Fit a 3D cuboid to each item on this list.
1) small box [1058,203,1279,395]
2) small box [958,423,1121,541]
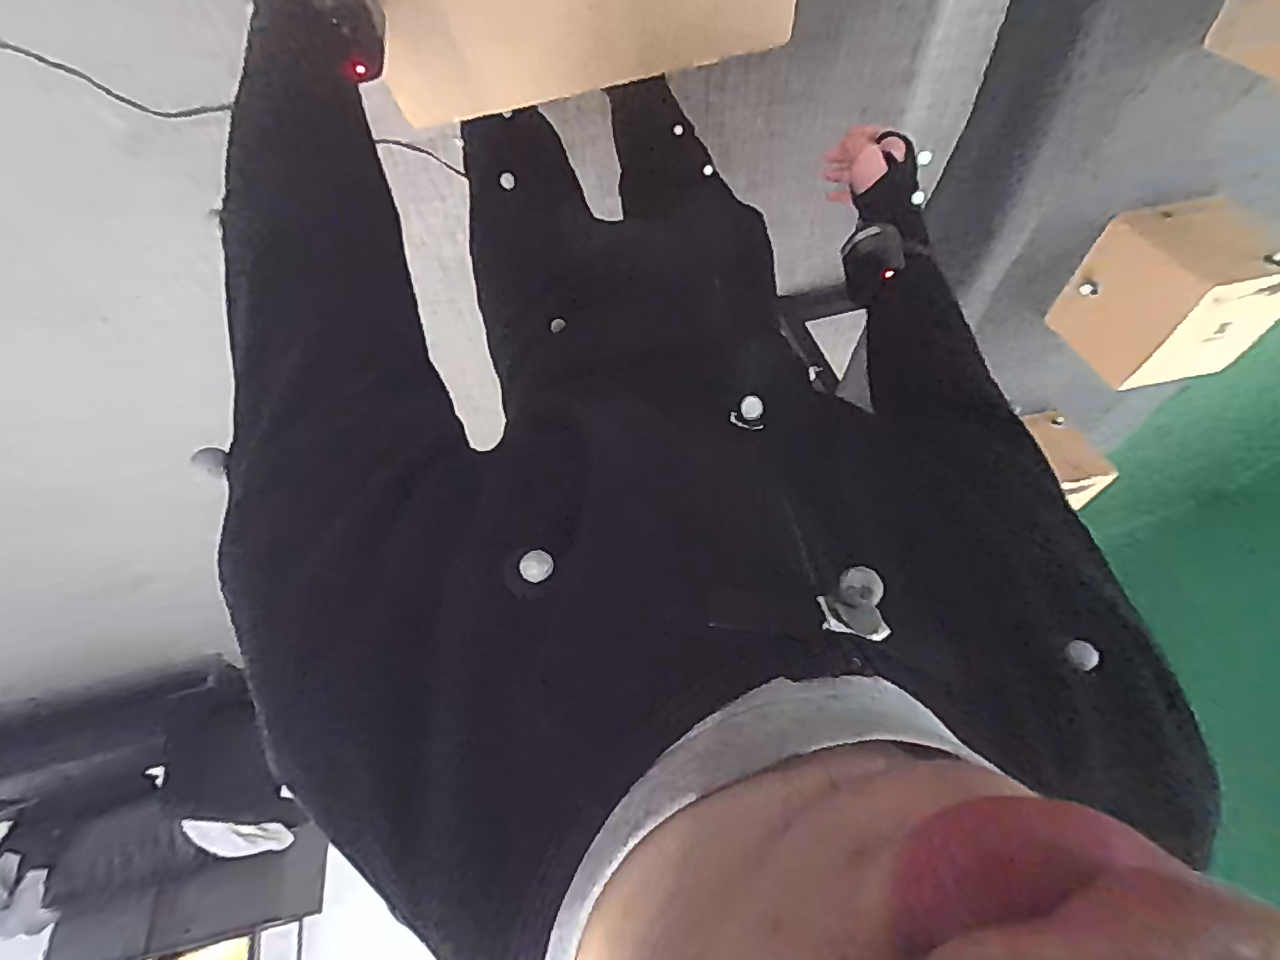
[{"bbox_3d":[0.734,-0.247,0.747,0.168,0.176,0.179,-11,145,-4],"label":"small box"},{"bbox_3d":[0.792,-0.002,1.098,0.168,0.176,0.179,-9,145,-7],"label":"small box"}]
